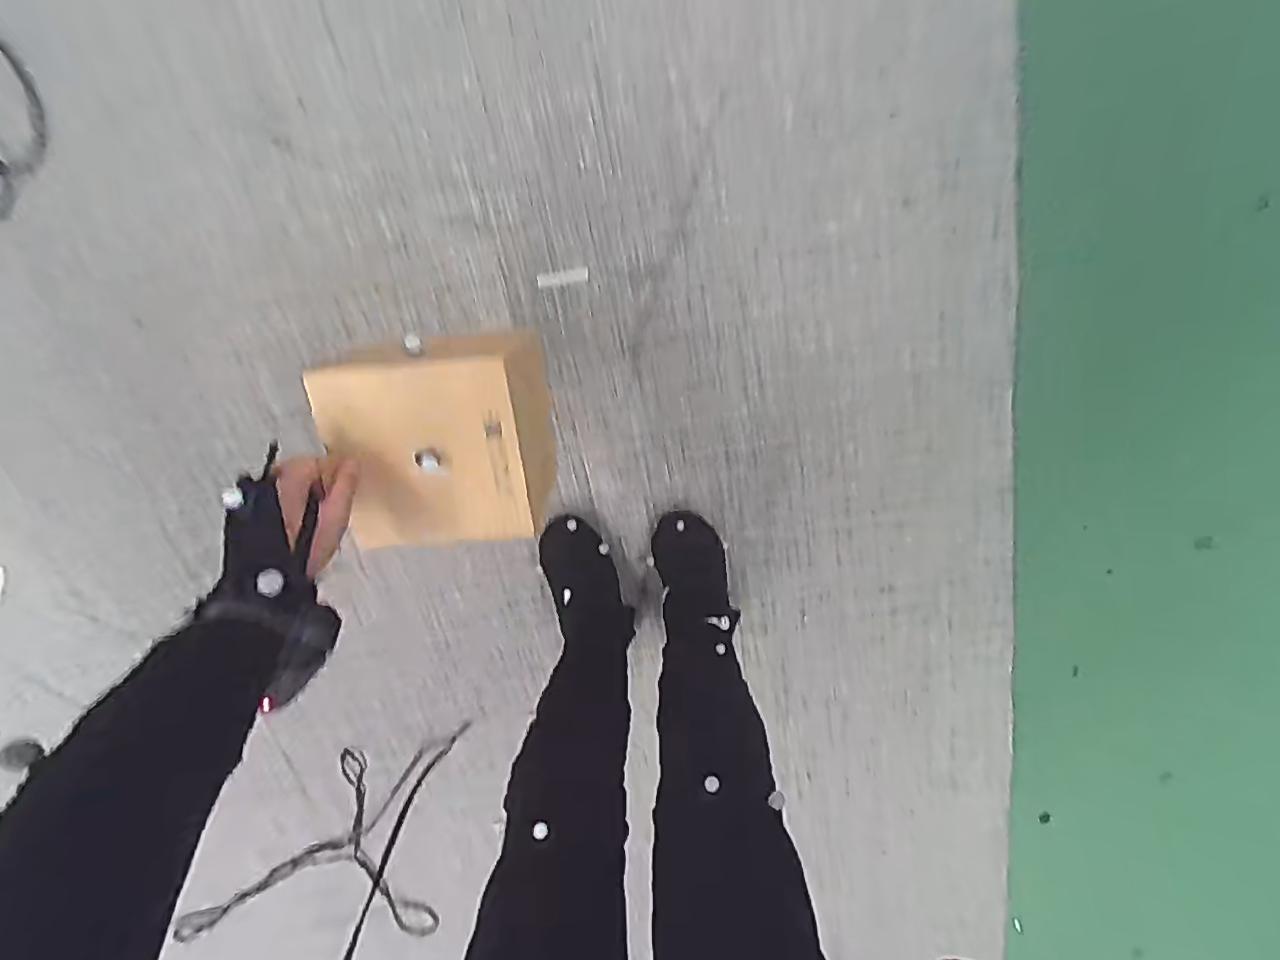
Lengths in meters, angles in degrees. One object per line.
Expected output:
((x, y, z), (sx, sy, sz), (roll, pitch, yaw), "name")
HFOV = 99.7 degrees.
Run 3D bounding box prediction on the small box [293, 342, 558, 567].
((-0.187, -0.036, 0.535), (0.176, 0.179, 0.168), (-5, 114, 3), "small box")
